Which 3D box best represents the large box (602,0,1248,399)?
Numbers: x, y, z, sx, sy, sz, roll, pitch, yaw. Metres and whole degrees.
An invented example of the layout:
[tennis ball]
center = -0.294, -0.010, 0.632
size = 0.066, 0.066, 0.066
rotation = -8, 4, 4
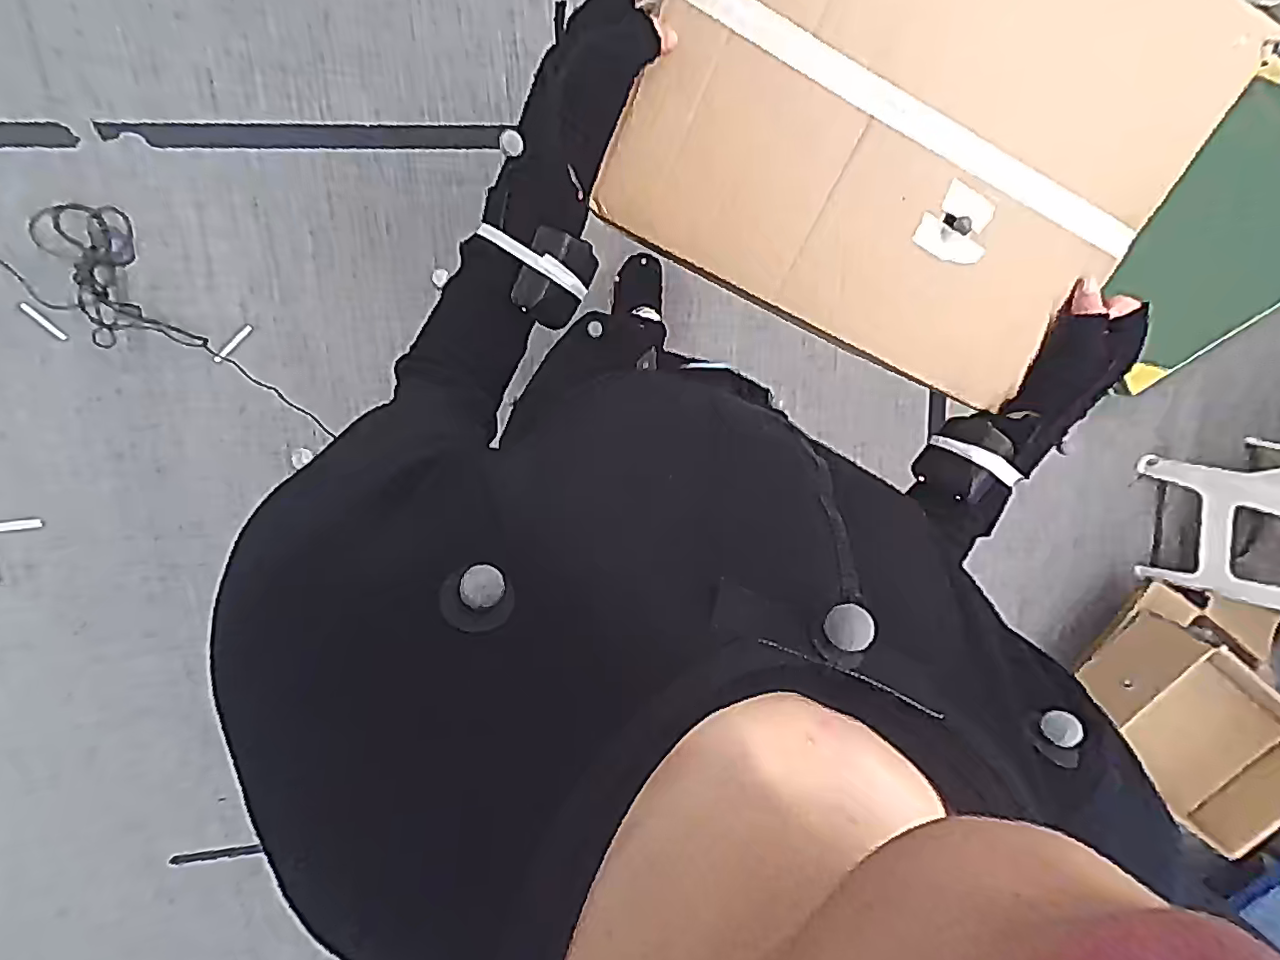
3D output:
[large box]
center = 0.203, -0.332, 0.550
size = 0.408, 0.320, 0.320
rotation = 23, 111, -11
